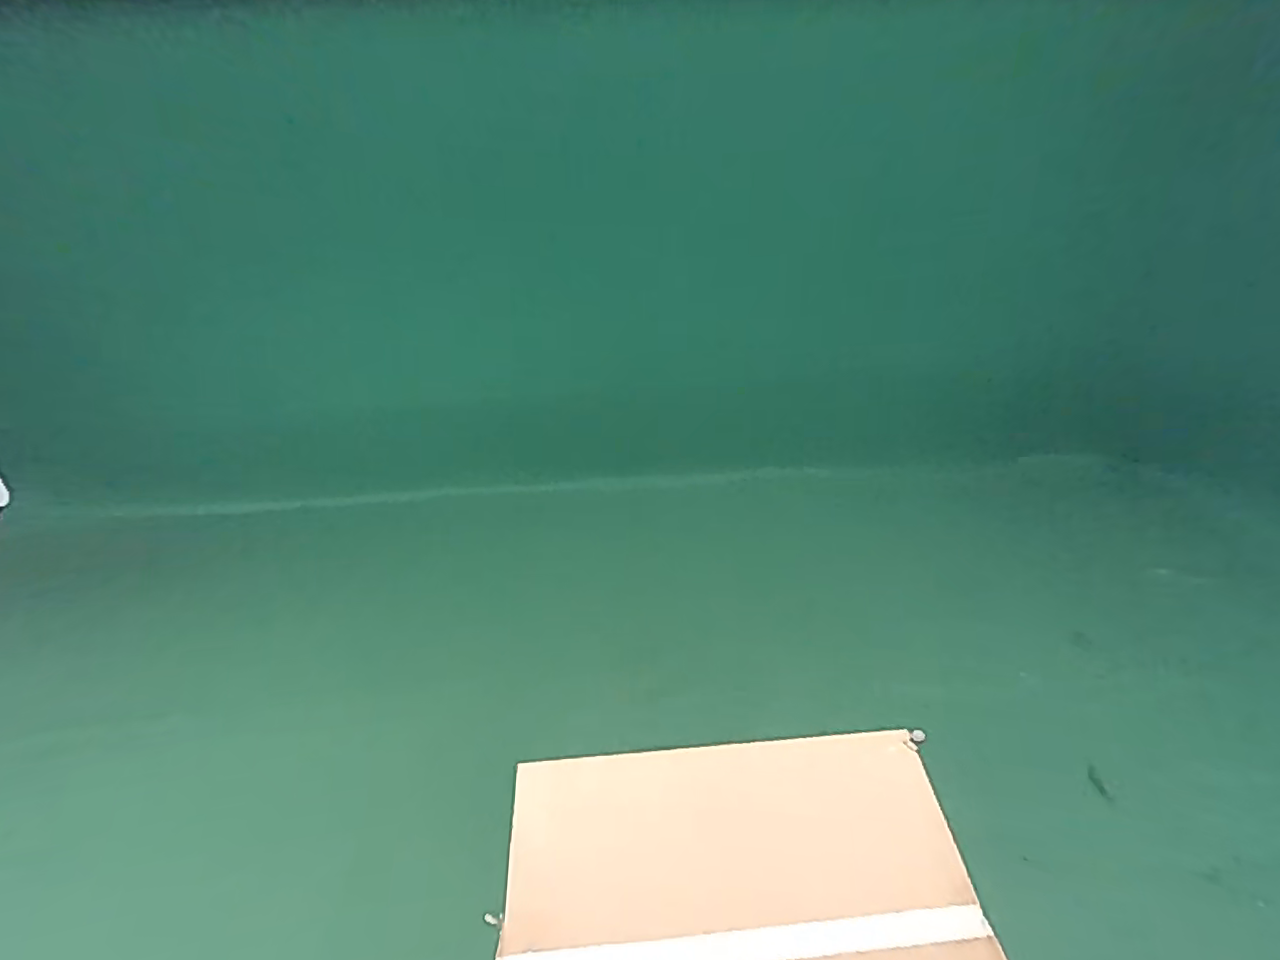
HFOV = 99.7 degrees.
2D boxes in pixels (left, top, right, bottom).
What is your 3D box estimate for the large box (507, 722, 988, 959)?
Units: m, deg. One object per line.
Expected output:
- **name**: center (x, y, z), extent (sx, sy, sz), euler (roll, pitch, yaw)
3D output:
- **large box**: center (0.086, 0.486, 0.565), extent (0.408, 0.320, 0.320), euler (-4, 46, -3)
